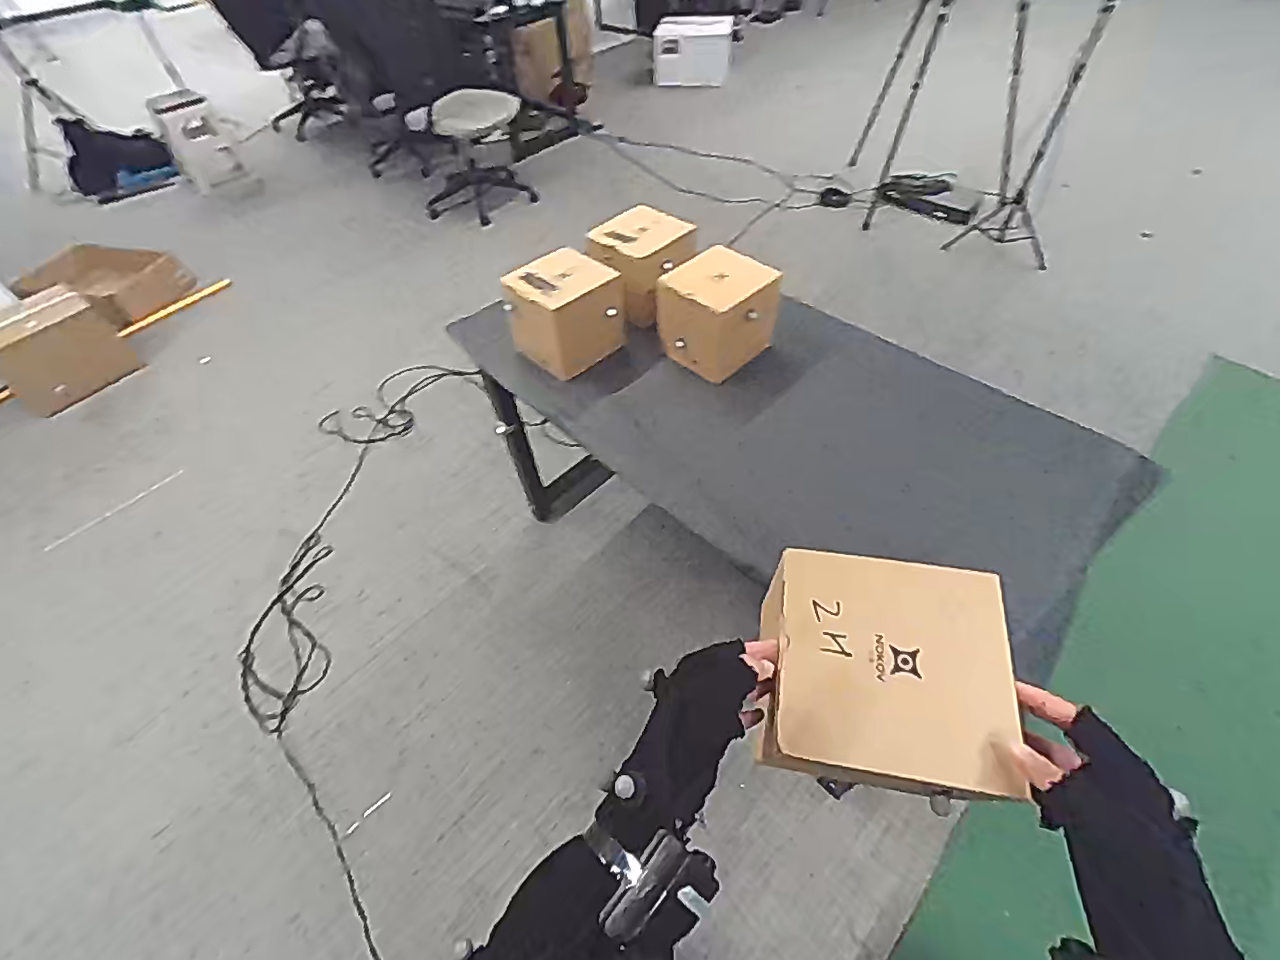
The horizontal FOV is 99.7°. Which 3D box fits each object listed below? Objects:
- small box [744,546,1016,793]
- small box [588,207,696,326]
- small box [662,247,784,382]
[{"bbox_3d":[0.195,0.175,0.492,0.179,0.176,0.168,5,61,9],"label":"small box"},{"bbox_3d":[0.010,-0.474,1.210,0.168,0.176,0.179,36,61,28],"label":"small box"},{"bbox_3d":[0.159,-0.331,1.088,0.179,0.176,0.168,-38,59,-23],"label":"small box"}]
